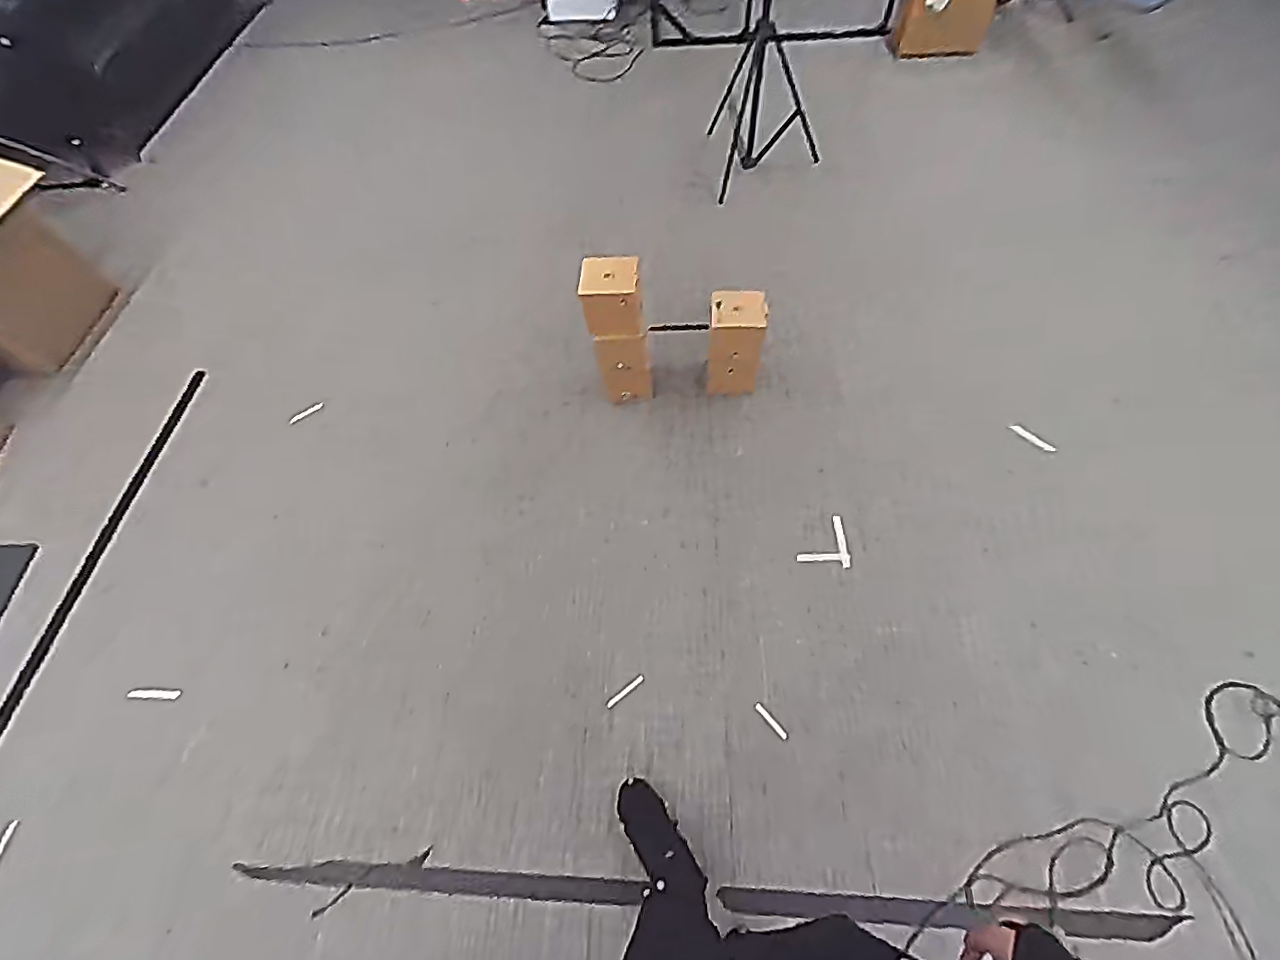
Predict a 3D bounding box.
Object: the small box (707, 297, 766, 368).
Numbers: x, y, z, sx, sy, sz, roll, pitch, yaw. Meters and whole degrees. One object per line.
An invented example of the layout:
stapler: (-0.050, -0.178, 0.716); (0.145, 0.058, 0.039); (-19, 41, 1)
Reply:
small box: (0.322, -0.495, 1.828); (0.179, 0.176, 0.168); (2, 59, 4)

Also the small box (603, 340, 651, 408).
small box: (-0.050, -0.388, 1.981); (0.168, 0.176, 0.179); (-6, 60, 1)

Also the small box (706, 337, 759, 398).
small box: (0.331, -0.411, 1.969); (0.179, 0.176, 0.168); (1, 60, 3)

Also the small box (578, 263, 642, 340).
small box: (-0.089, -0.559, 1.705); (0.179, 0.176, 0.168); (0, 59, 5)

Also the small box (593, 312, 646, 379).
small box: (-0.067, -0.467, 1.838); (0.168, 0.176, 0.179); (-4, 60, 2)
